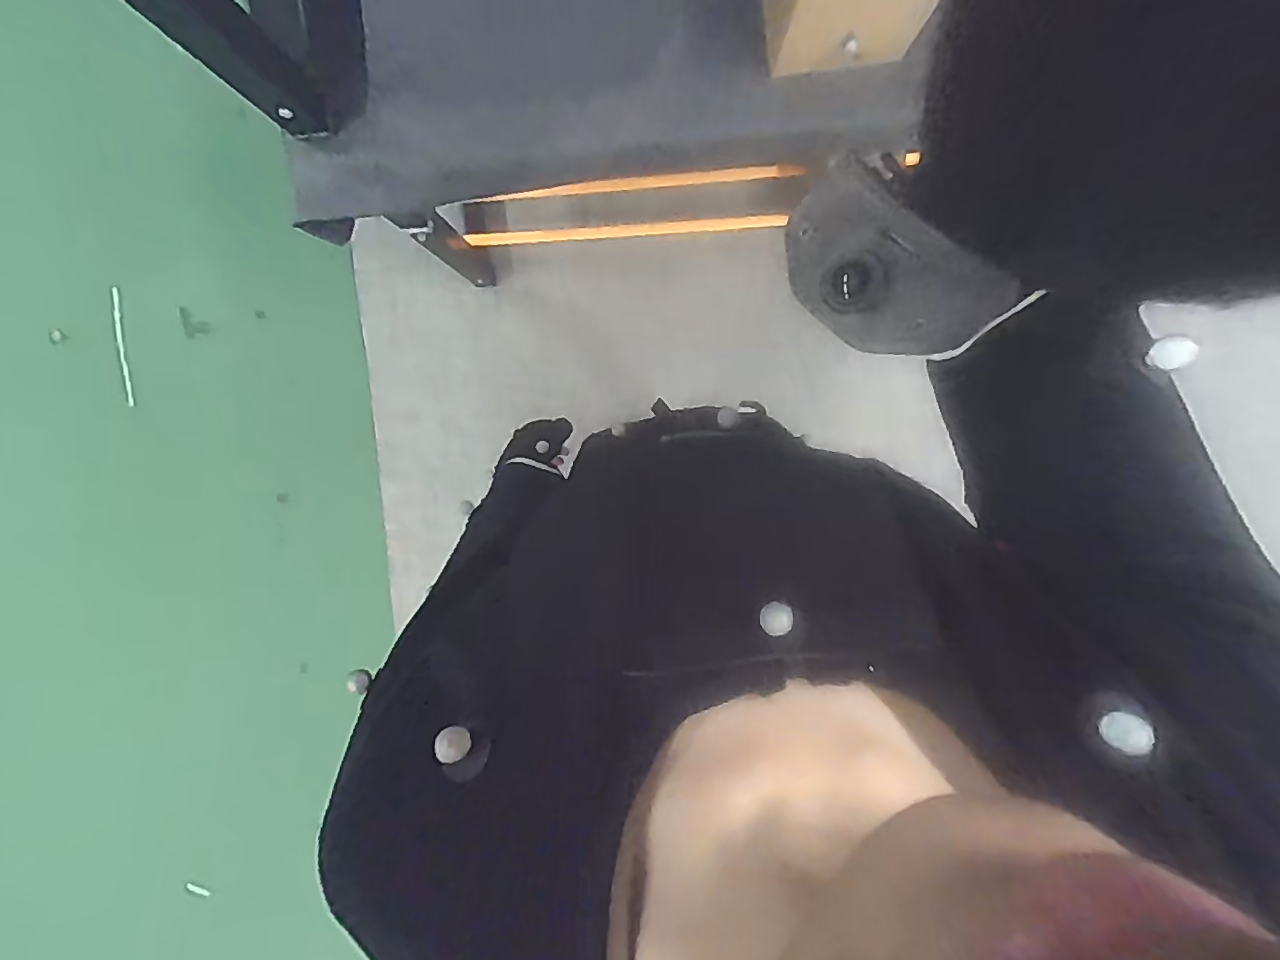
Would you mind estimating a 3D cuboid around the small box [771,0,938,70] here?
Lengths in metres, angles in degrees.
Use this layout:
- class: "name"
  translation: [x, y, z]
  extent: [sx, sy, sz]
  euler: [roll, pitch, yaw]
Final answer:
- class: "small box"
  translation: [0.242, -0.606, 0.598]
  extent: [0.168, 0.176, 0.179]
  euler: [-6, 95, 2]
